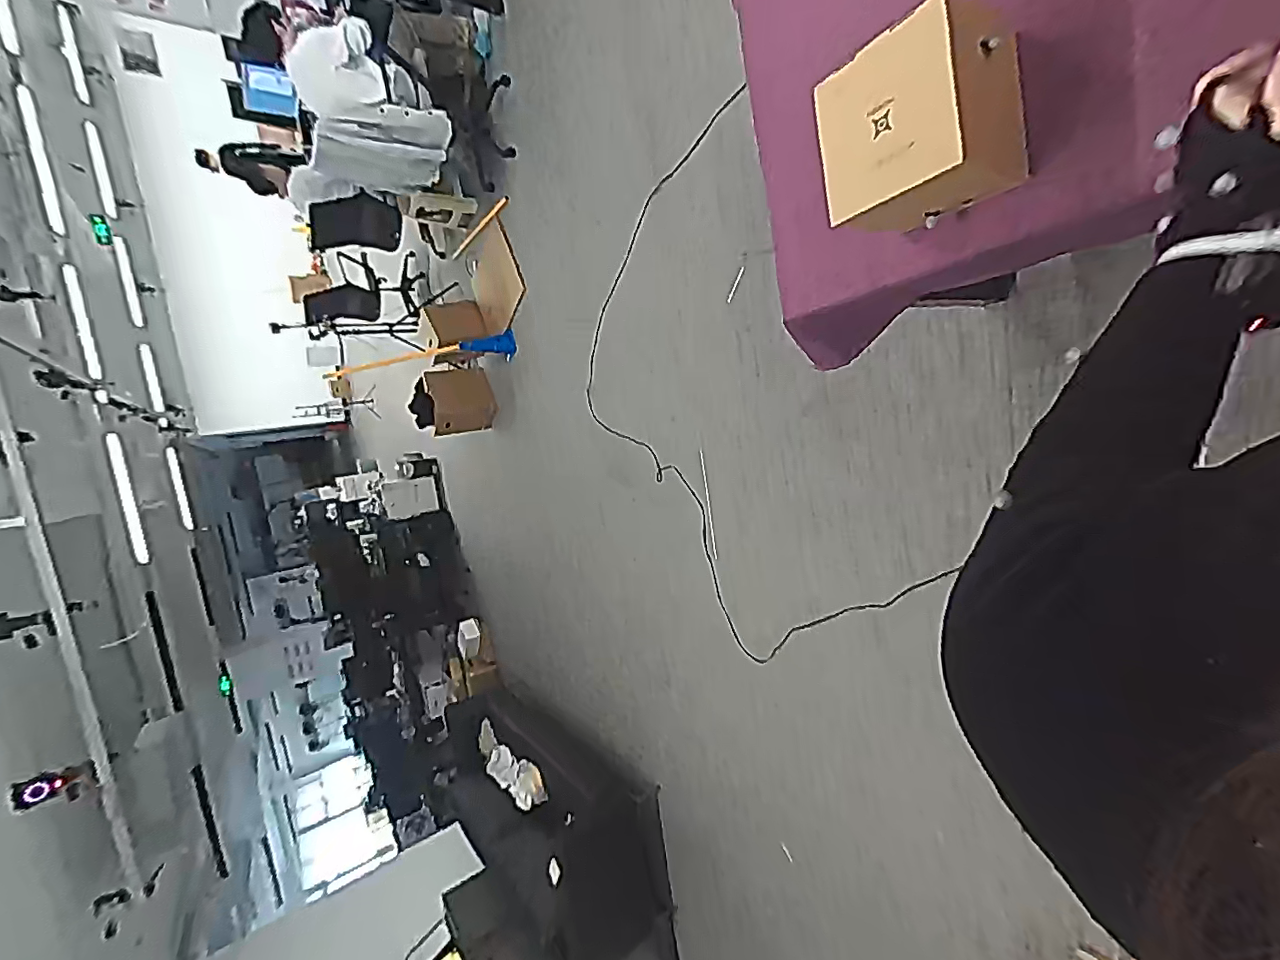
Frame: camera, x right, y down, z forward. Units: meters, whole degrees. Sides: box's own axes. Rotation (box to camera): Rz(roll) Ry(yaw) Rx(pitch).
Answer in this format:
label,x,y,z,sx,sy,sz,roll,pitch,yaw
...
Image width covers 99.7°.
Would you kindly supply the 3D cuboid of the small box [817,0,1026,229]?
label,x,y,z,sx,sy,sz,roll,pitch,yaw
small box,0.349,-0.434,0.673,0.168,0.176,0.179,-1,100,56
